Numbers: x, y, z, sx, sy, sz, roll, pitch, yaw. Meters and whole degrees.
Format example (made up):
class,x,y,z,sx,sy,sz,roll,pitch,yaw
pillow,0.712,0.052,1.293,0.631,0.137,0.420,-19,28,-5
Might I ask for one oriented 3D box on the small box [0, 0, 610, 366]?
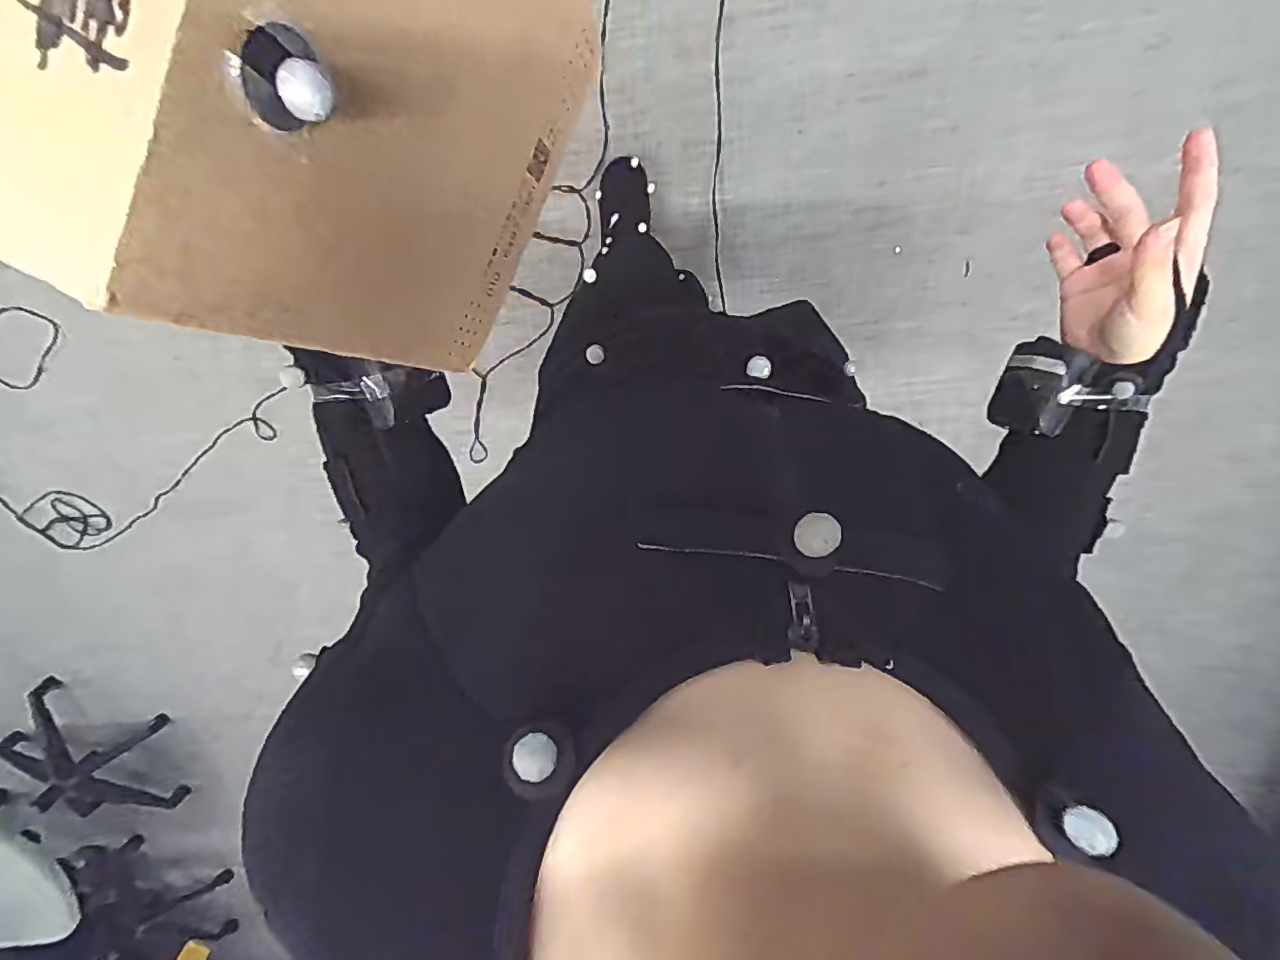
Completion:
class,x,y,z,sx,sy,sz,roll,pitch,yaw
small box,-0.135,-0.154,0.204,0.179,0.176,0.168,27,101,7
